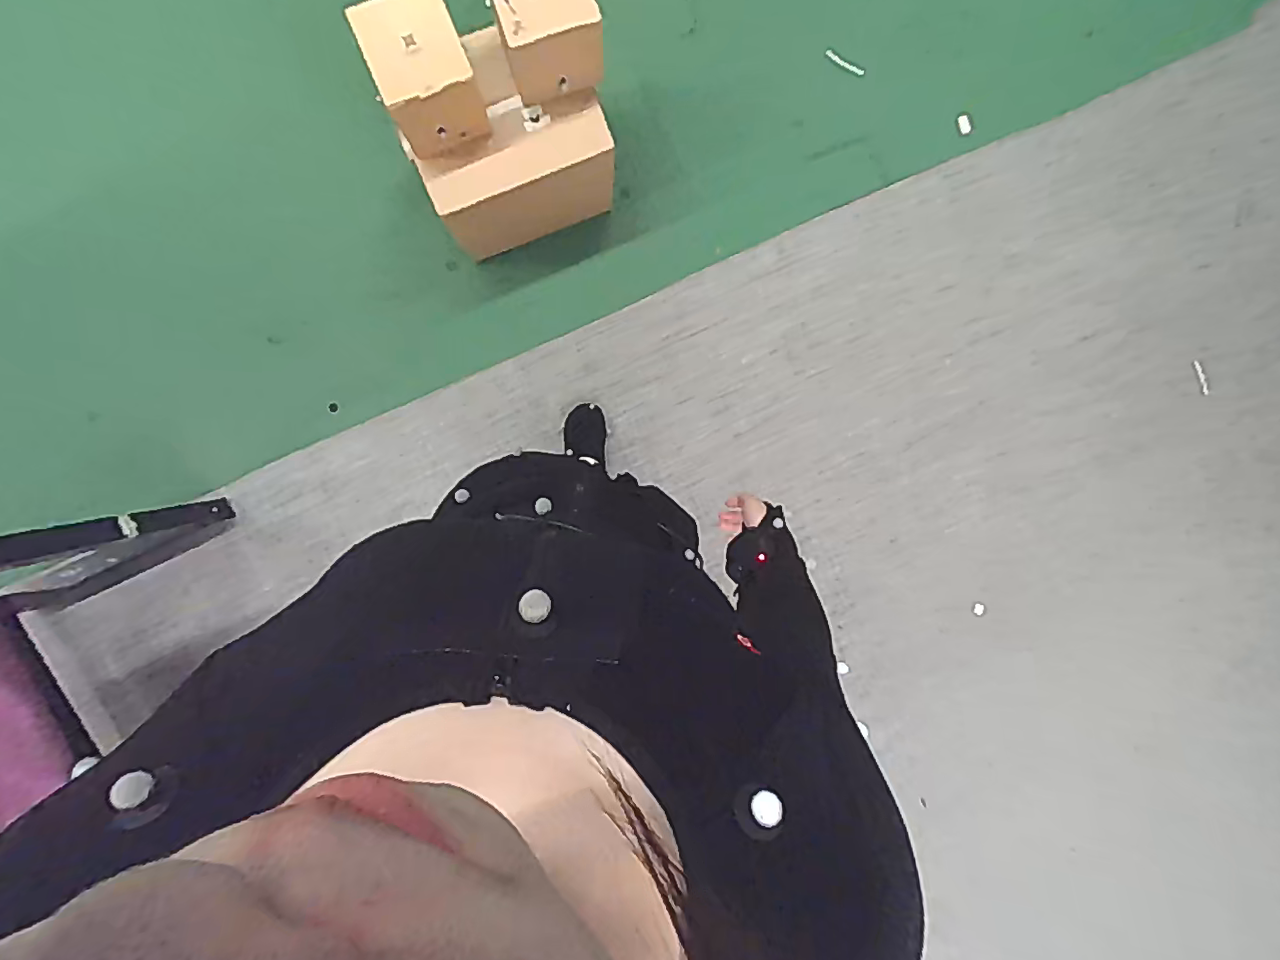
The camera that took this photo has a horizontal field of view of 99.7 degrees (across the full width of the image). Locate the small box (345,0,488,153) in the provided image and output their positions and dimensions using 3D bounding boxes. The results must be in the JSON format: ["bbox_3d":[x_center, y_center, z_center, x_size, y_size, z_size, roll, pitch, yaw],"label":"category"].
[{"bbox_3d":[-0.404,-0.760,1.008,0.168,0.176,0.179,-23,96,-3],"label":"small box"}]

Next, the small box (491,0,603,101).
[{"bbox_3d":[-0.178,-0.862,1.016,0.179,0.176,0.168,-18,95,-3],"label":"small box"}]

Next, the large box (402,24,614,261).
[{"bbox_3d":[-0.307,-0.773,1.259,0.408,0.320,0.320,-23,96,-3],"label":"large box"}]
